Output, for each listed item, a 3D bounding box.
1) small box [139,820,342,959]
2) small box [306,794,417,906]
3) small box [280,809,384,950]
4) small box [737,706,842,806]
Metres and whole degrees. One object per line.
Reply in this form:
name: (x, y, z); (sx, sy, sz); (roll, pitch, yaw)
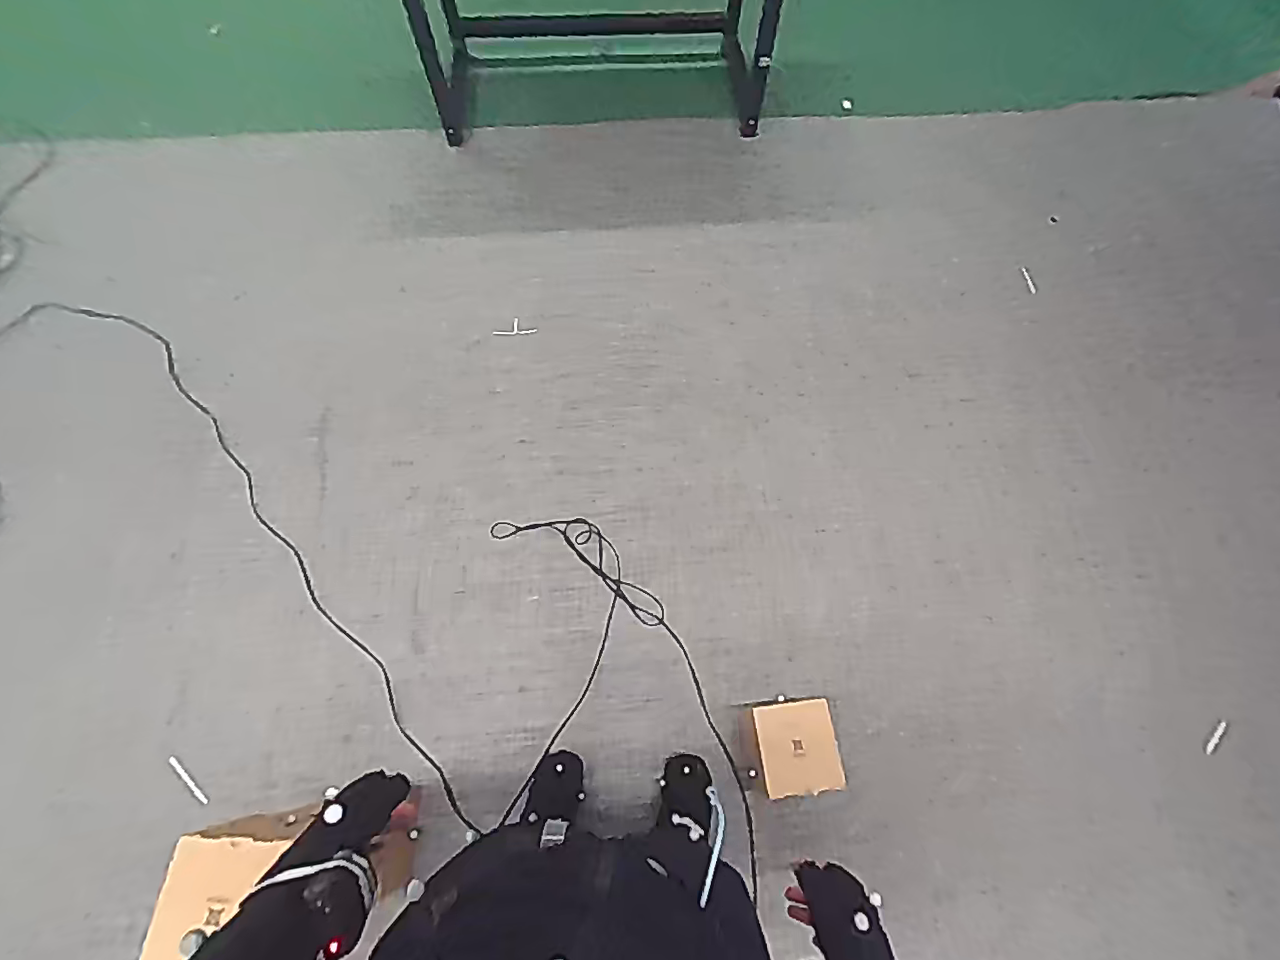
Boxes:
small box: (-0.581, 0.629, 0.809); (0.168, 0.176, 0.179); (3, 66, 0)
small box: (-0.575, 0.756, 1.113); (0.168, 0.176, 0.179); (-5, 65, 0)
small box: (-0.576, 0.695, 0.958); (0.168, 0.176, 0.179); (-1, 68, -2)
small box: (0.323, 0.604, 1.201); (0.168, 0.176, 0.179); (-5, 67, -4)
